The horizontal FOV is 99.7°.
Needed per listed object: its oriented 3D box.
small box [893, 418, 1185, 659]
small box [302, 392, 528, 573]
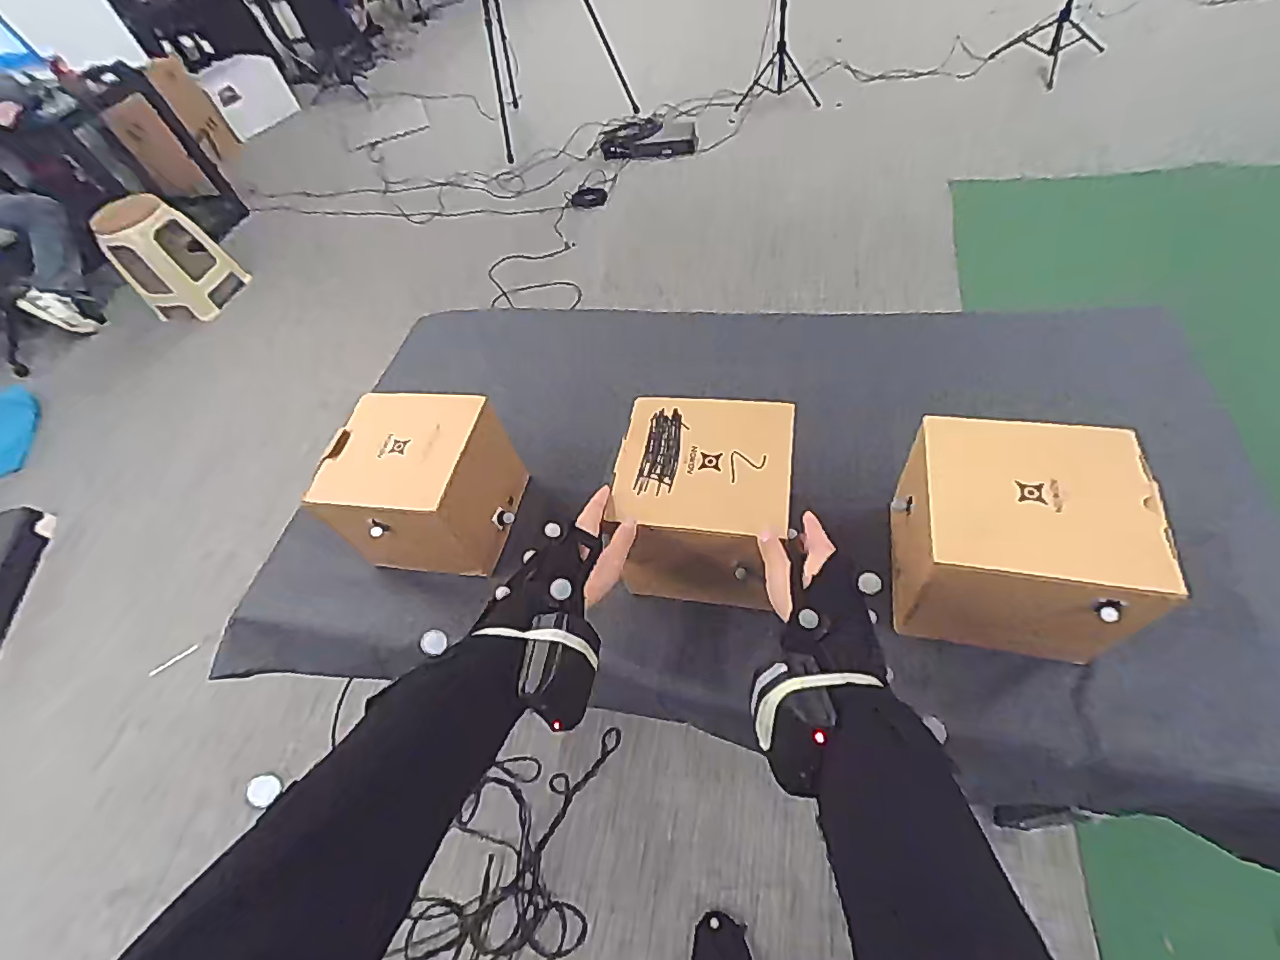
[{"bbox_3d":[0.354,0.060,0.529,0.179,0.176,0.168,6,56,15],"label":"small box"},{"bbox_3d":[-0.267,0.006,0.688,0.179,0.176,0.168,4,57,12],"label":"small box"}]
